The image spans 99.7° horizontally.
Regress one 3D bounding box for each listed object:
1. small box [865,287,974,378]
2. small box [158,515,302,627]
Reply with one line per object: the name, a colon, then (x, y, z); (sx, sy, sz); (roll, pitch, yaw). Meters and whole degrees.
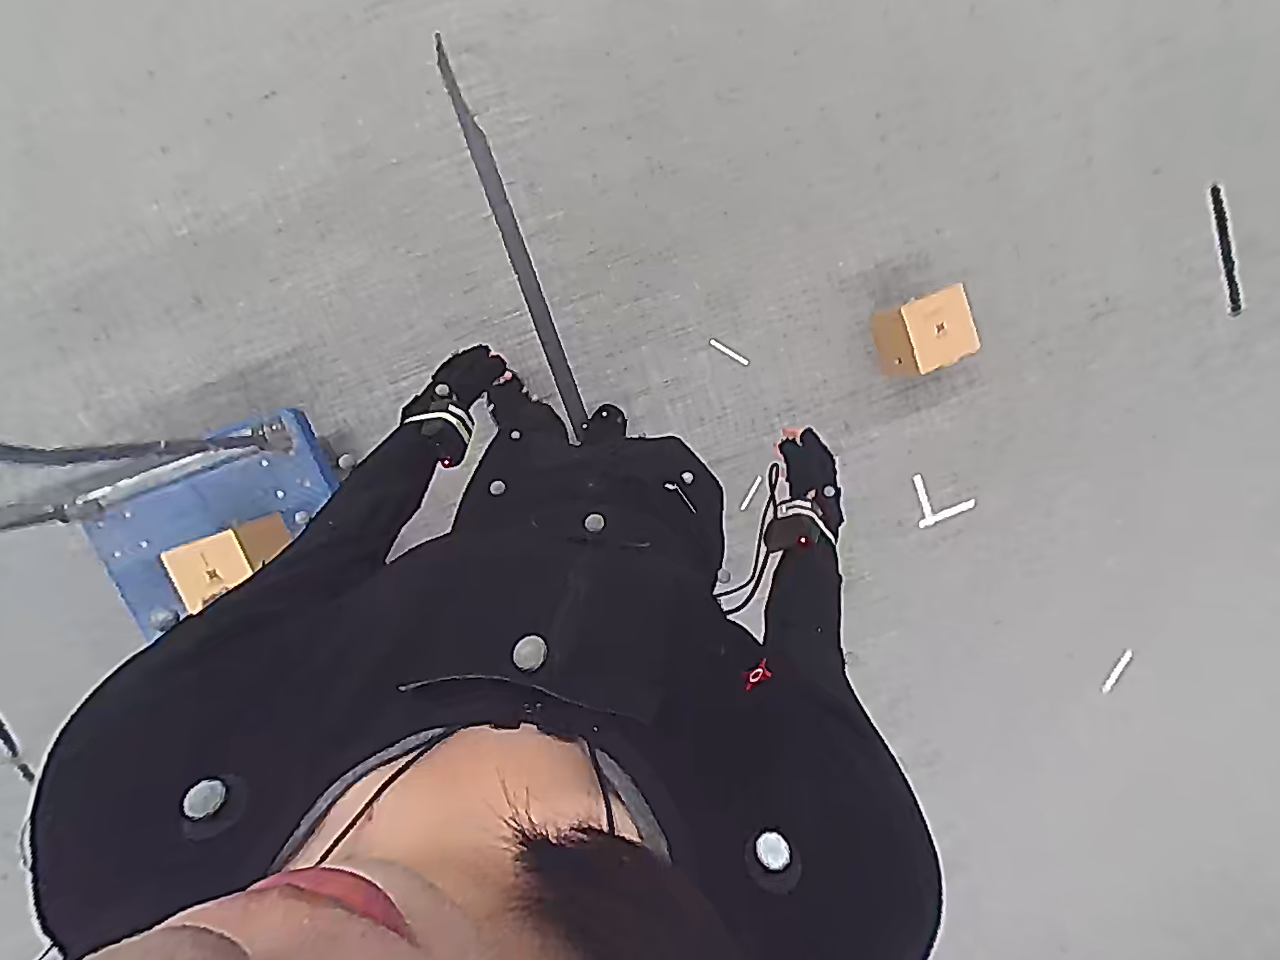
small box: (0.723, -0.377, 1.416); (0.168, 0.176, 0.179); (-24, 99, 0)
small box: (-0.913, 0.199, 1.226); (0.168, 0.176, 0.179); (-18, 99, 0)
